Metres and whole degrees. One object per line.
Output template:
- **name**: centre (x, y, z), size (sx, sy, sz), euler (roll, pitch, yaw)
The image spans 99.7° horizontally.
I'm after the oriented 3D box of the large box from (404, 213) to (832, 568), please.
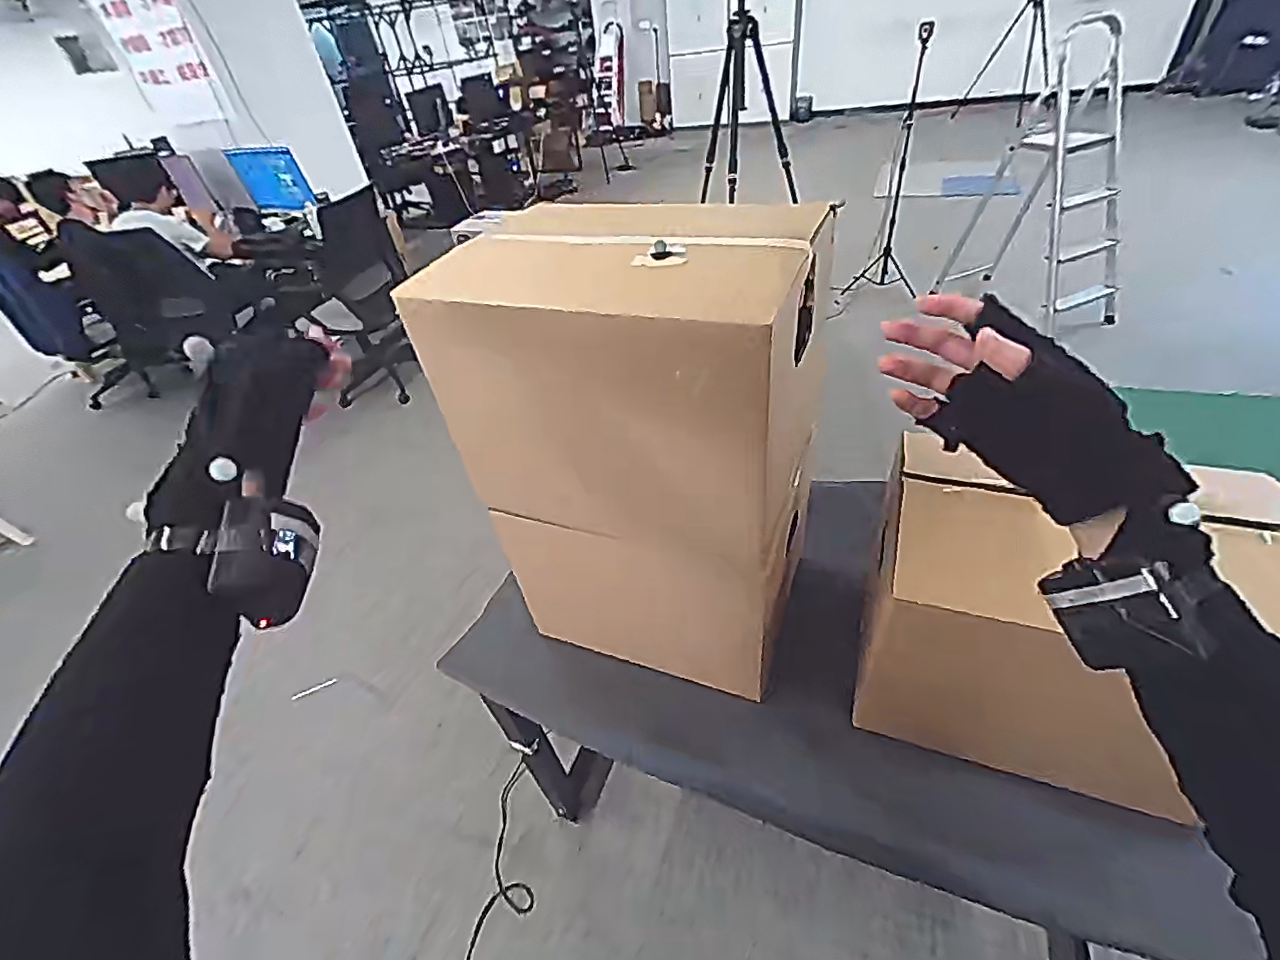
- **large box**: centre (-0.001, -0.135, 0.701), size (0.408, 0.320, 0.320), euler (12, 45, 20)
